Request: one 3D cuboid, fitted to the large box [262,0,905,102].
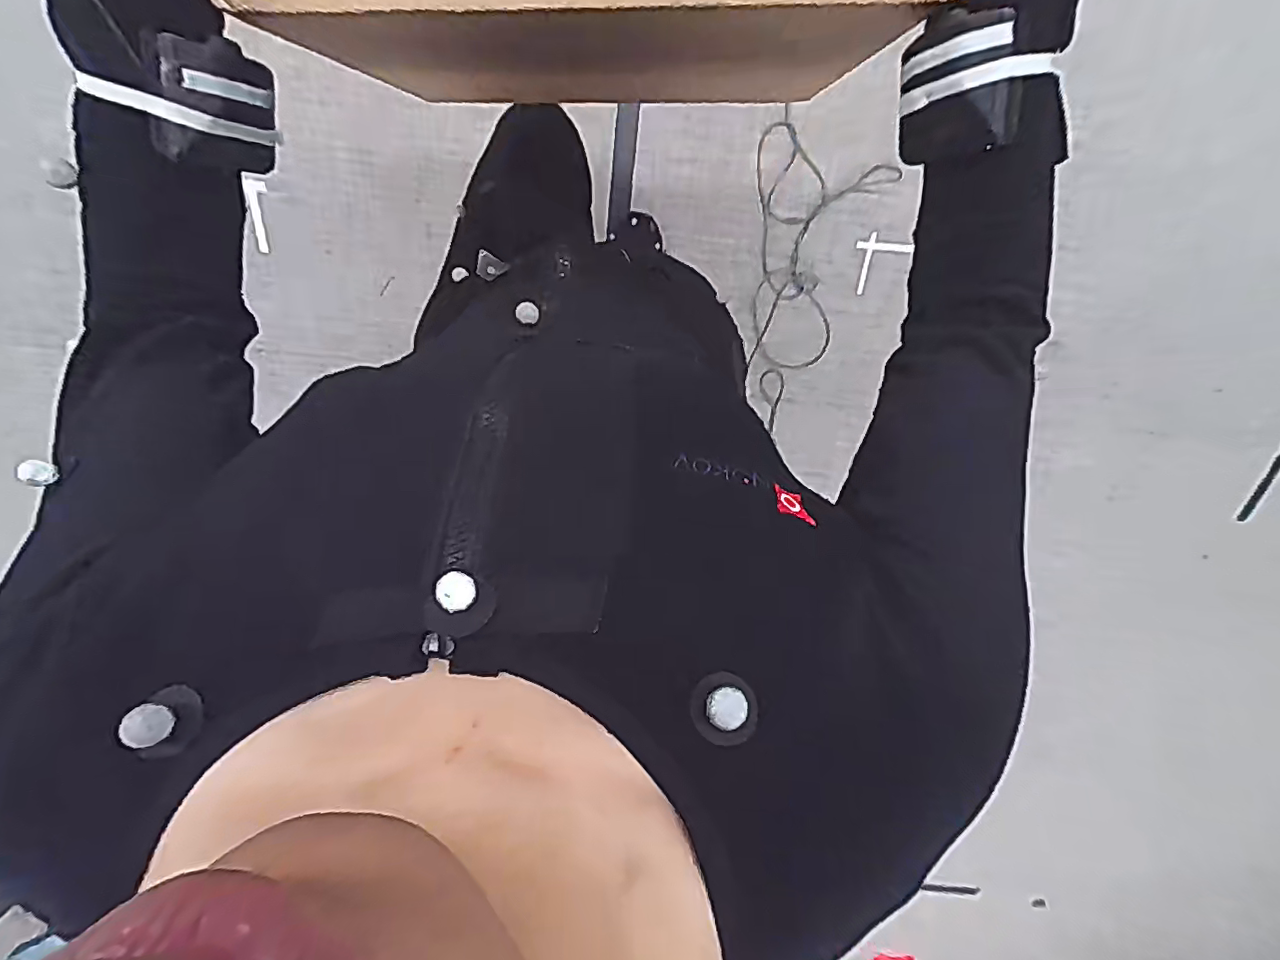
[{"bbox_3d":[-0.028,-0.476,0.369,0.408,0.320,0.320,0,117,1],"label":"large box"}]
